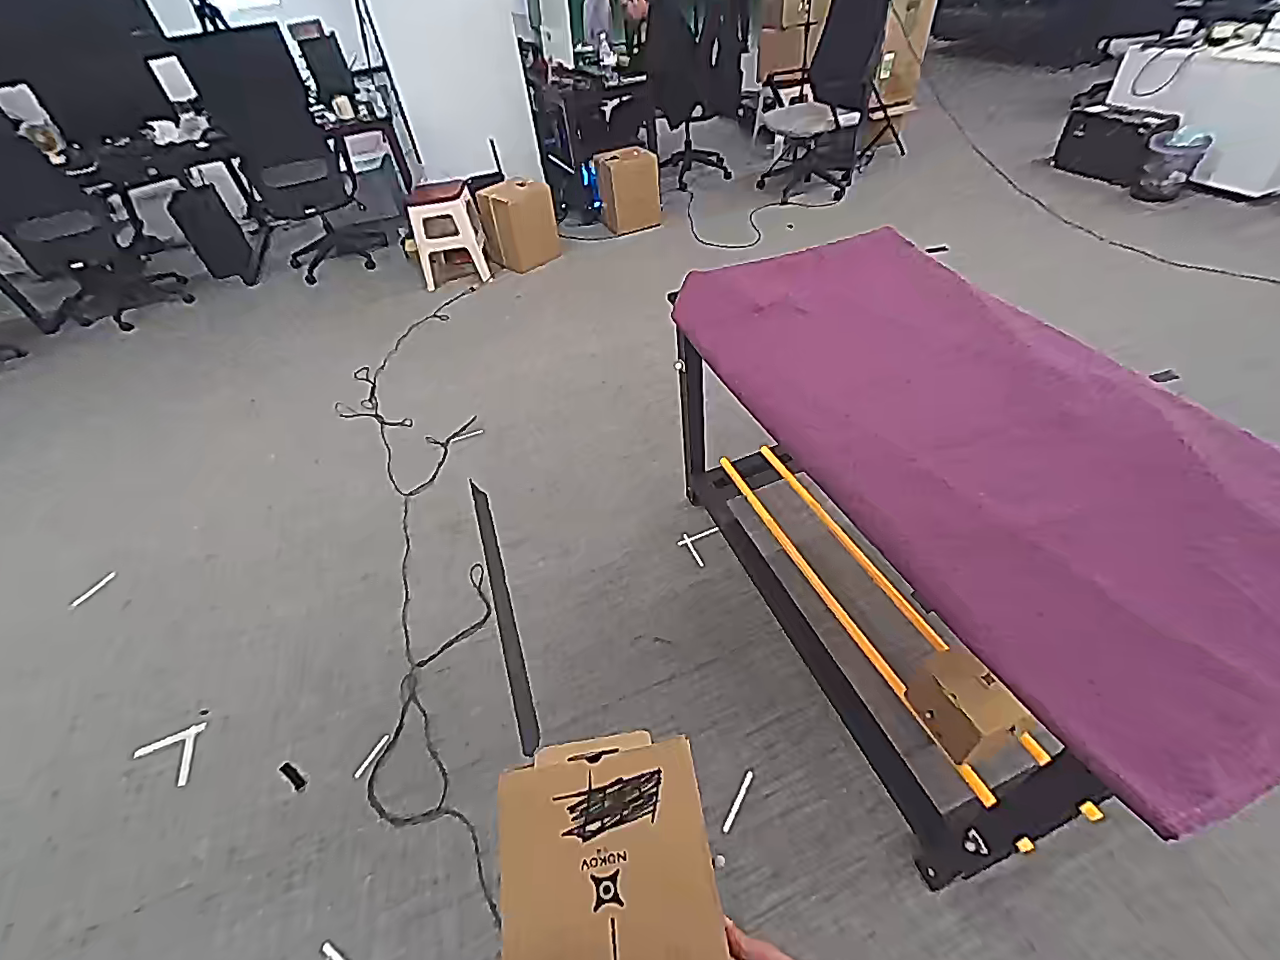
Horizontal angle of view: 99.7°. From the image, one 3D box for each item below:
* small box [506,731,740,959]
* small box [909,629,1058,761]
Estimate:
[{"bbox_3d":[-0.017,0.343,0.479,0.168,0.176,0.179,-10,56,-3],"label":"small box"},{"bbox_3d":[0.694,0.445,1.117,0.179,0.176,0.168,-21,45,-10],"label":"small box"}]
